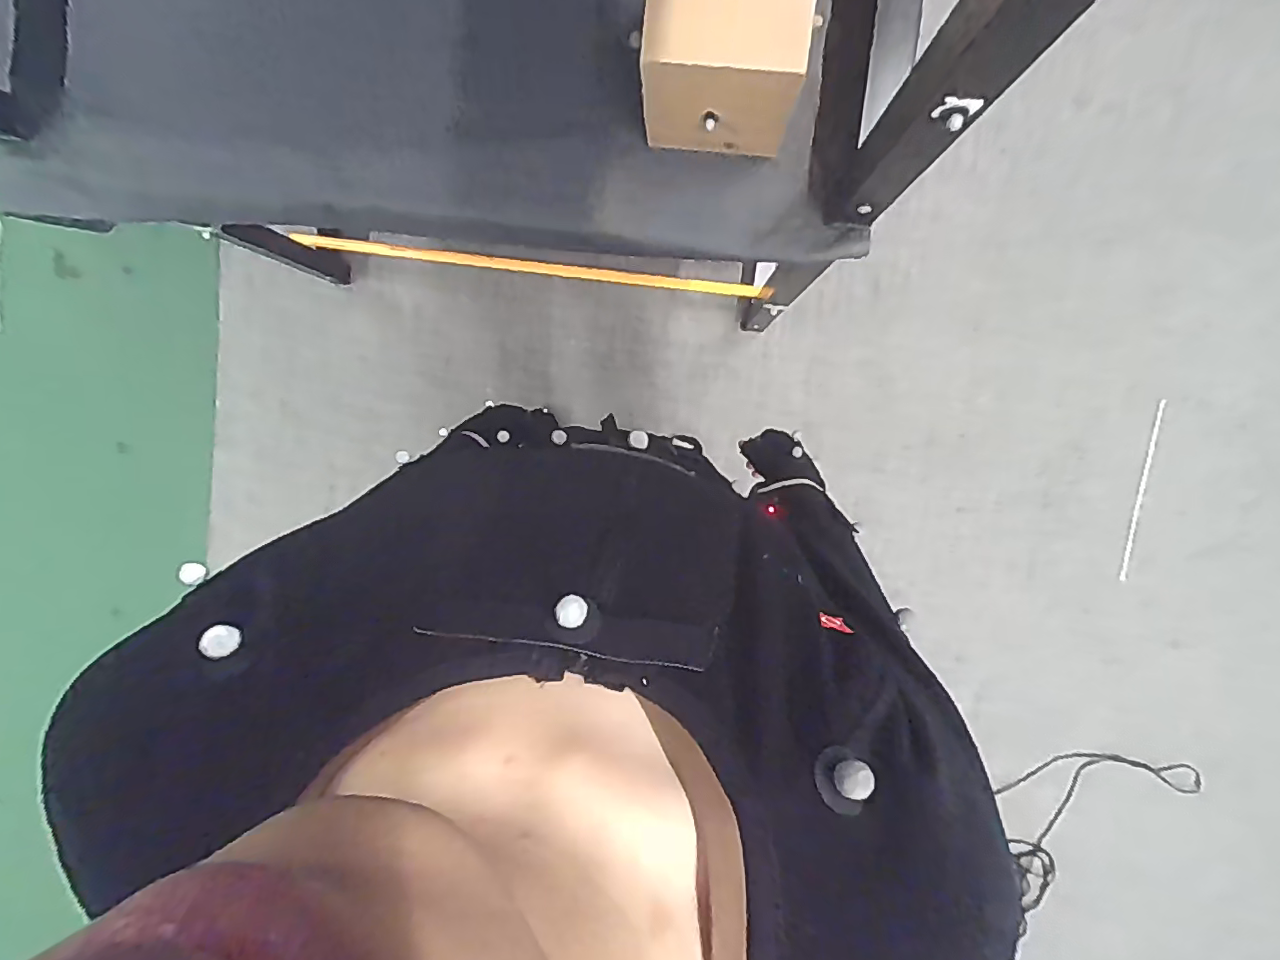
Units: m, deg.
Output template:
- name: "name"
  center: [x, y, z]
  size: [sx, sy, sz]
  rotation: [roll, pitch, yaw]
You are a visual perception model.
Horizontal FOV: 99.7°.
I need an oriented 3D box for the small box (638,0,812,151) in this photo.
- name: "small box"
  center: [0.094, -0.500, 0.603]
  size: [0.168, 0.176, 0.179]
  rotation: [7, 96, 2]
